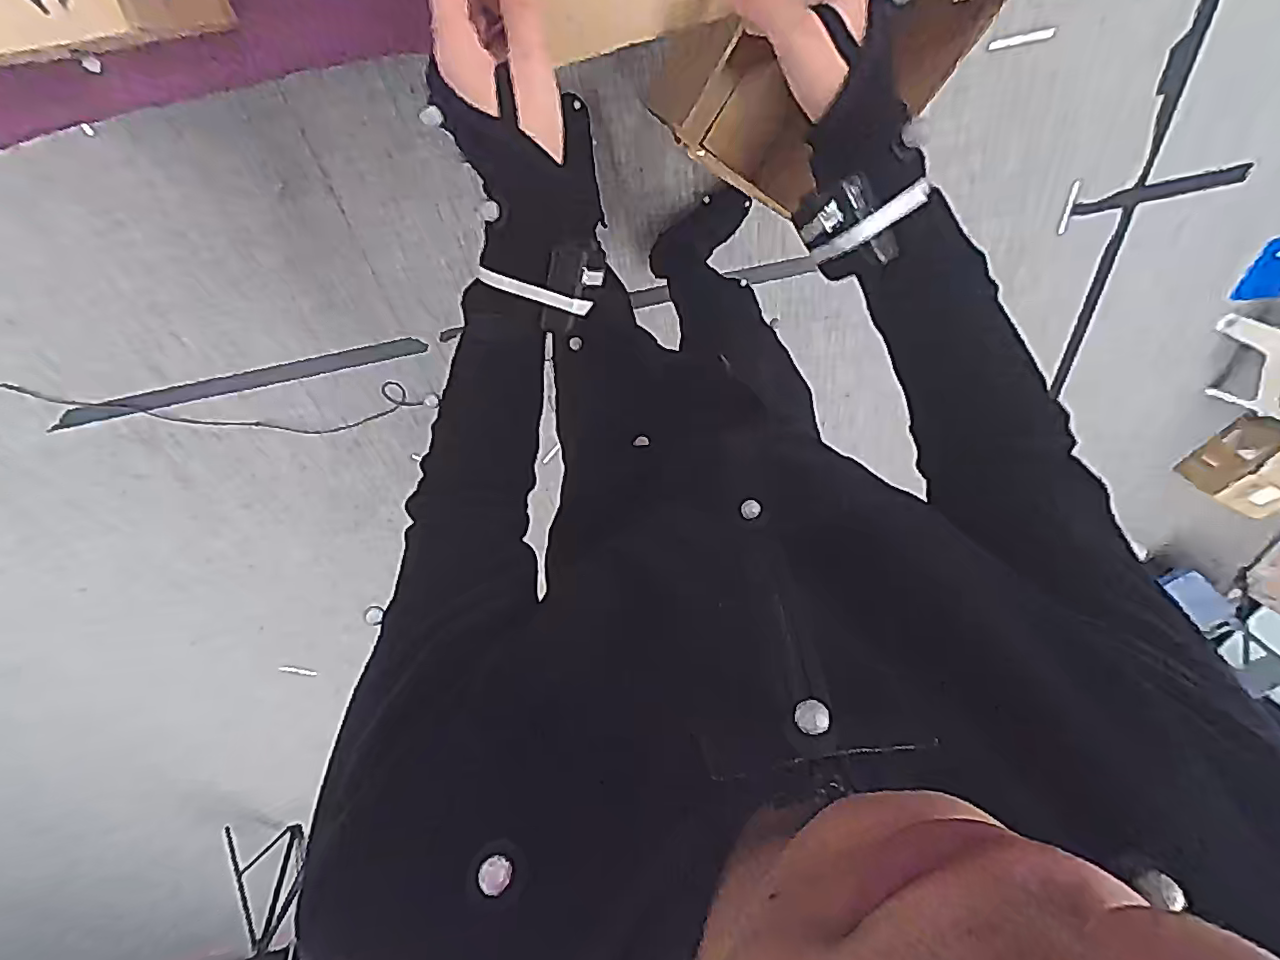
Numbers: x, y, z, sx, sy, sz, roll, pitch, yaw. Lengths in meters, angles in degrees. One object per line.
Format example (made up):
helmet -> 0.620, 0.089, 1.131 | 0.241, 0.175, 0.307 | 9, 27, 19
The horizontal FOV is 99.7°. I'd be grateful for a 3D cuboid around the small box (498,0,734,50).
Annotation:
small box -> -0.024, -0.410, 0.339 | 0.179, 0.176, 0.168 | -13, 144, 2
